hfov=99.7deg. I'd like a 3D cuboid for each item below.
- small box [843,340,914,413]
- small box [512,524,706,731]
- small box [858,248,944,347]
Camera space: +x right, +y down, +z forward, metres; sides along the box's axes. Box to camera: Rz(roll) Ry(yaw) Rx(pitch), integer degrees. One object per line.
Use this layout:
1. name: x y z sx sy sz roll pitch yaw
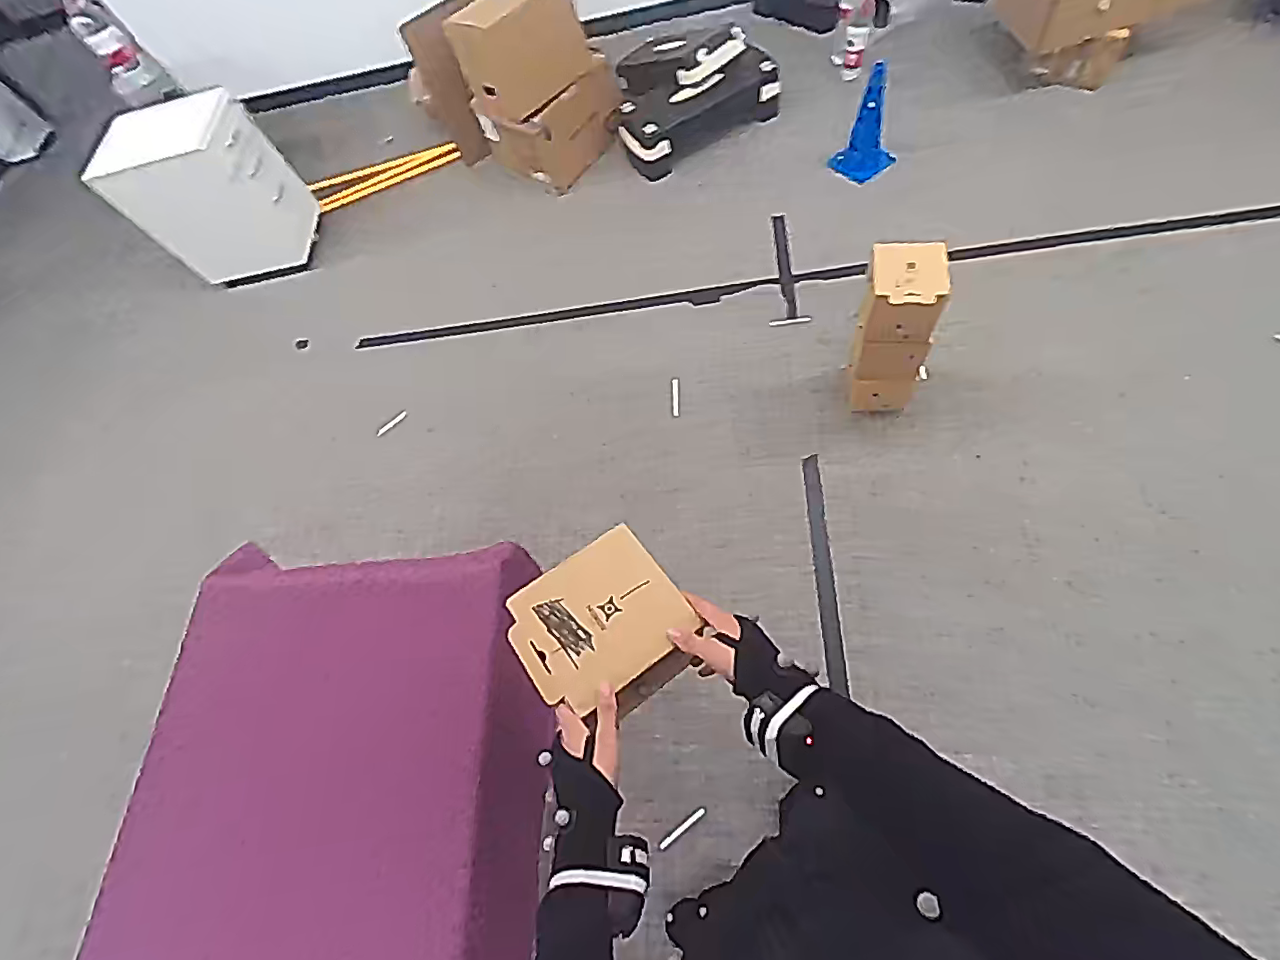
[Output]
1. small box: 0.733 -0.317 1.675 0.168 0.176 0.179 -1 65 11
2. small box: -0.033 0.195 0.696 0.179 0.176 0.168 -33 63 -16
3. small box: 0.662 -0.468 1.390 0.168 0.176 0.179 4 66 13
